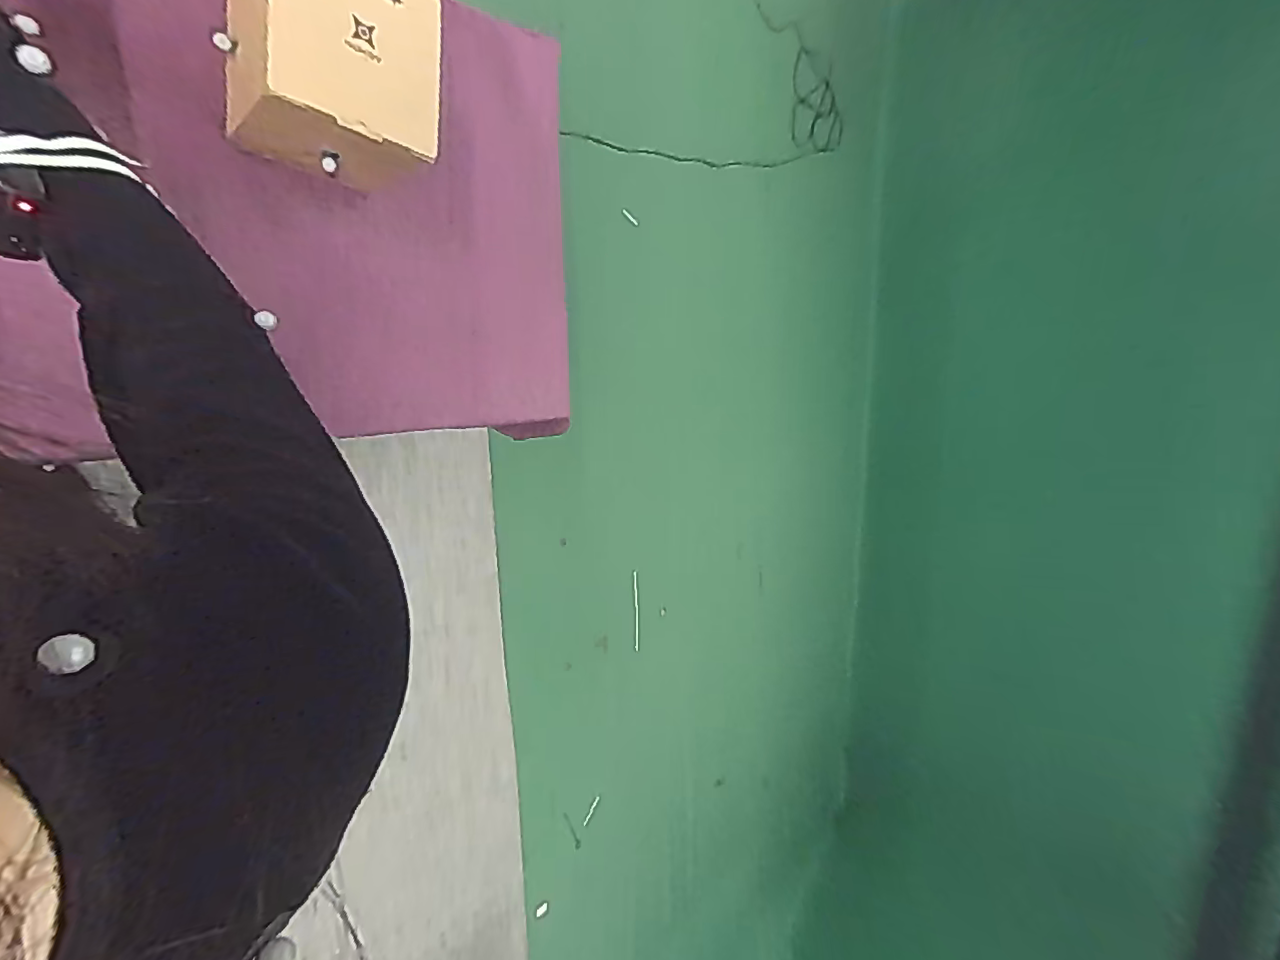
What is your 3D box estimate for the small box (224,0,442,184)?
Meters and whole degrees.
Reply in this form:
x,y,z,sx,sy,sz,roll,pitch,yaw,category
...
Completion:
x,y,z,sx,sy,sz,roll,pitch,yaw,category
-0.340,-0.458,0.597,0.168,0.176,0.179,-2,99,-48,small box
